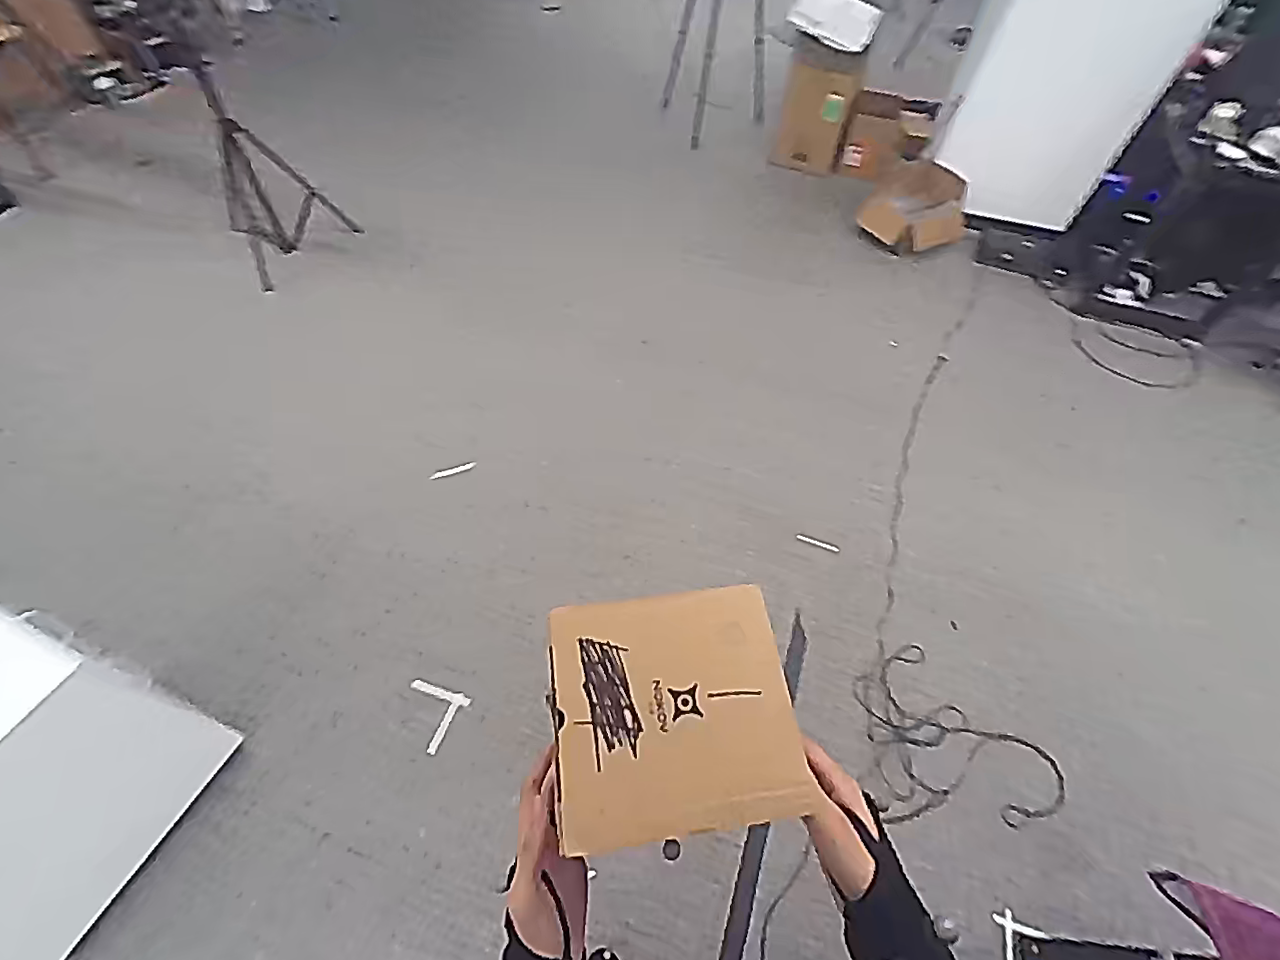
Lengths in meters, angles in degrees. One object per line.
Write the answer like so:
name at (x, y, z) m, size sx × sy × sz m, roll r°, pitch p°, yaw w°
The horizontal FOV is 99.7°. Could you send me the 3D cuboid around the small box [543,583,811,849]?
small box at (0.016, 0.204, 0.465) m, size 0.179 × 0.176 × 0.168 m, roll -6°, pitch 59°, yaw -8°
